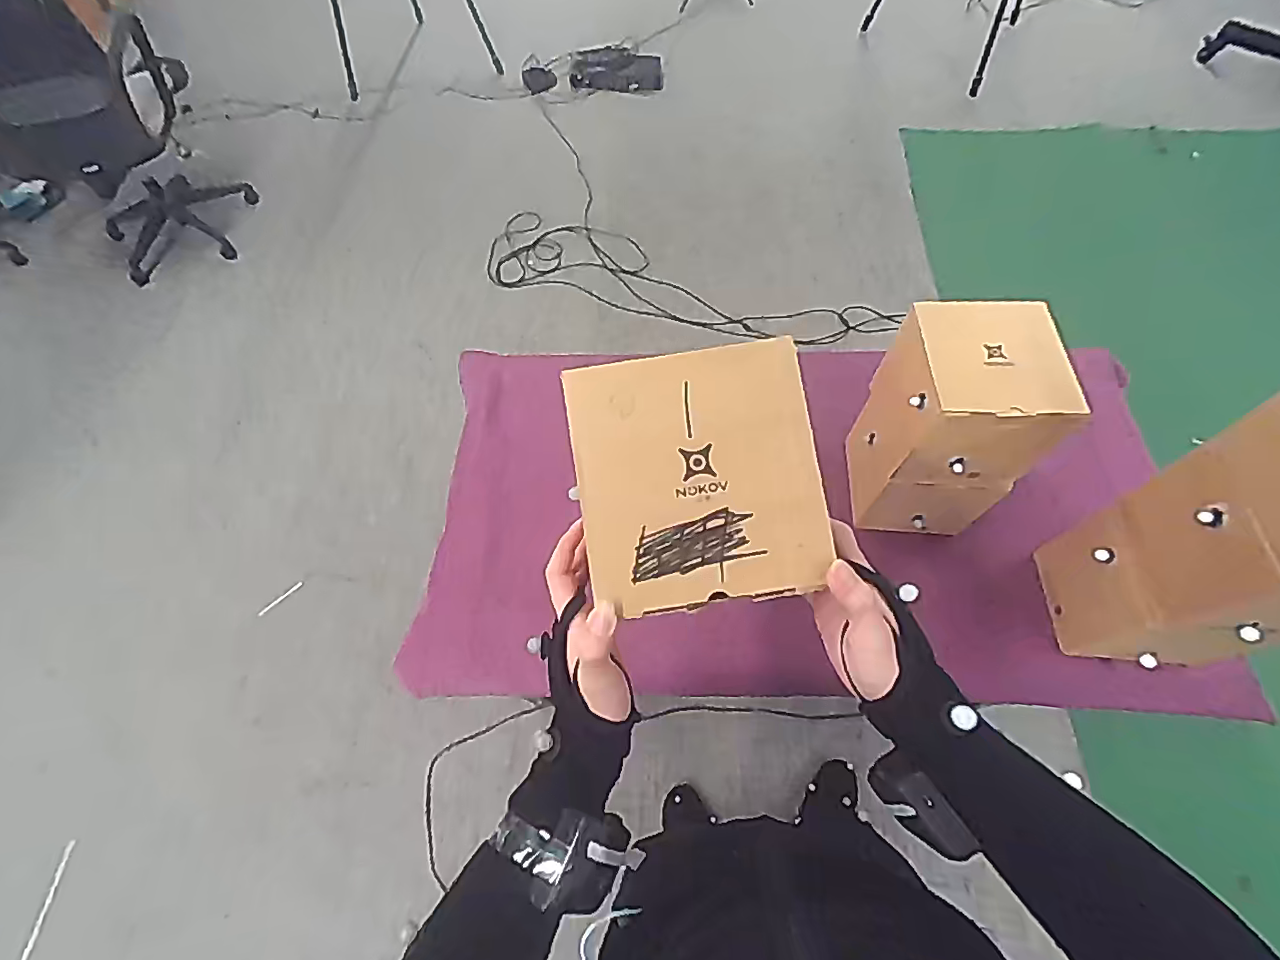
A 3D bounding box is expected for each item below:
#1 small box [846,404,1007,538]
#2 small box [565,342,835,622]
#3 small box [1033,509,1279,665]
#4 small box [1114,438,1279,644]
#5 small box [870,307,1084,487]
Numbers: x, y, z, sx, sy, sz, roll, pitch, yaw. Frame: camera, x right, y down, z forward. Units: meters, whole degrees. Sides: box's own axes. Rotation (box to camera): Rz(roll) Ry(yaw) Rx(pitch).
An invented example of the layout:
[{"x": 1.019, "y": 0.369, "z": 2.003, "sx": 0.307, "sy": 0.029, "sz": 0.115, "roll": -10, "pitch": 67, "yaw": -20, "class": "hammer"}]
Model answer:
[{"x": 0.438, "y": -0.024, "z": 0.862, "sx": 0.168, "sy": 0.176, "sz": 0.179, "roll": 4, "pitch": 62, "yaw": 5, "class": "small box"}, {"x": 0.040, "y": 0.008, "z": 0.448, "sx": 0.168, "sy": 0.176, "sz": 0.179, "roll": -9, "pitch": 83, "yaw": -1, "class": "small box"}, {"x": 0.702, "y": 0.155, "z": 0.753, "sx": 0.179, "sy": 0.176, "sz": 0.168, "roll": 4, "pitch": 61, "yaw": 5, "class": "small box"}, {"x": 0.697, "y": 0.073, "z": 0.611, "sx": 0.168, "sy": 0.176, "sz": 0.179, "roll": 3, "pitch": 61, "yaw": 6, "class": "small box"}, {"x": 0.426, "y": -0.106, "z": 0.722, "sx": 0.168, "sy": 0.176, "sz": 0.179, "roll": 1, "pitch": 63, "yaw": 3, "class": "small box"}]
